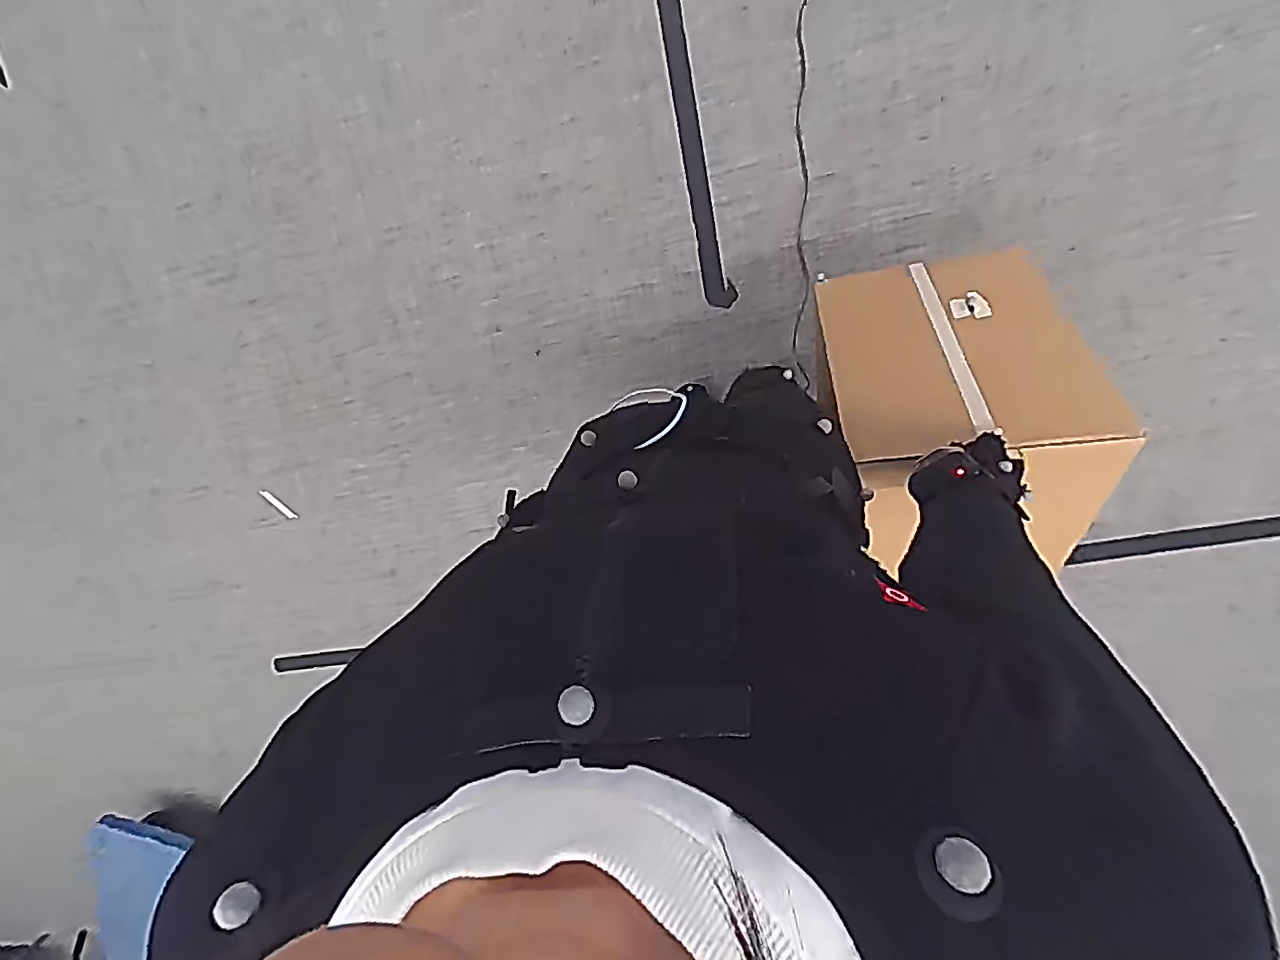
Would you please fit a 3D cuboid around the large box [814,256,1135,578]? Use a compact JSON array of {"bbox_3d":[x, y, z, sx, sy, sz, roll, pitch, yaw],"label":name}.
[{"bbox_3d":[0.470,-0.095,0.880,0.320,0.408,0.320,-5,140,14],"label":"large box"}]
